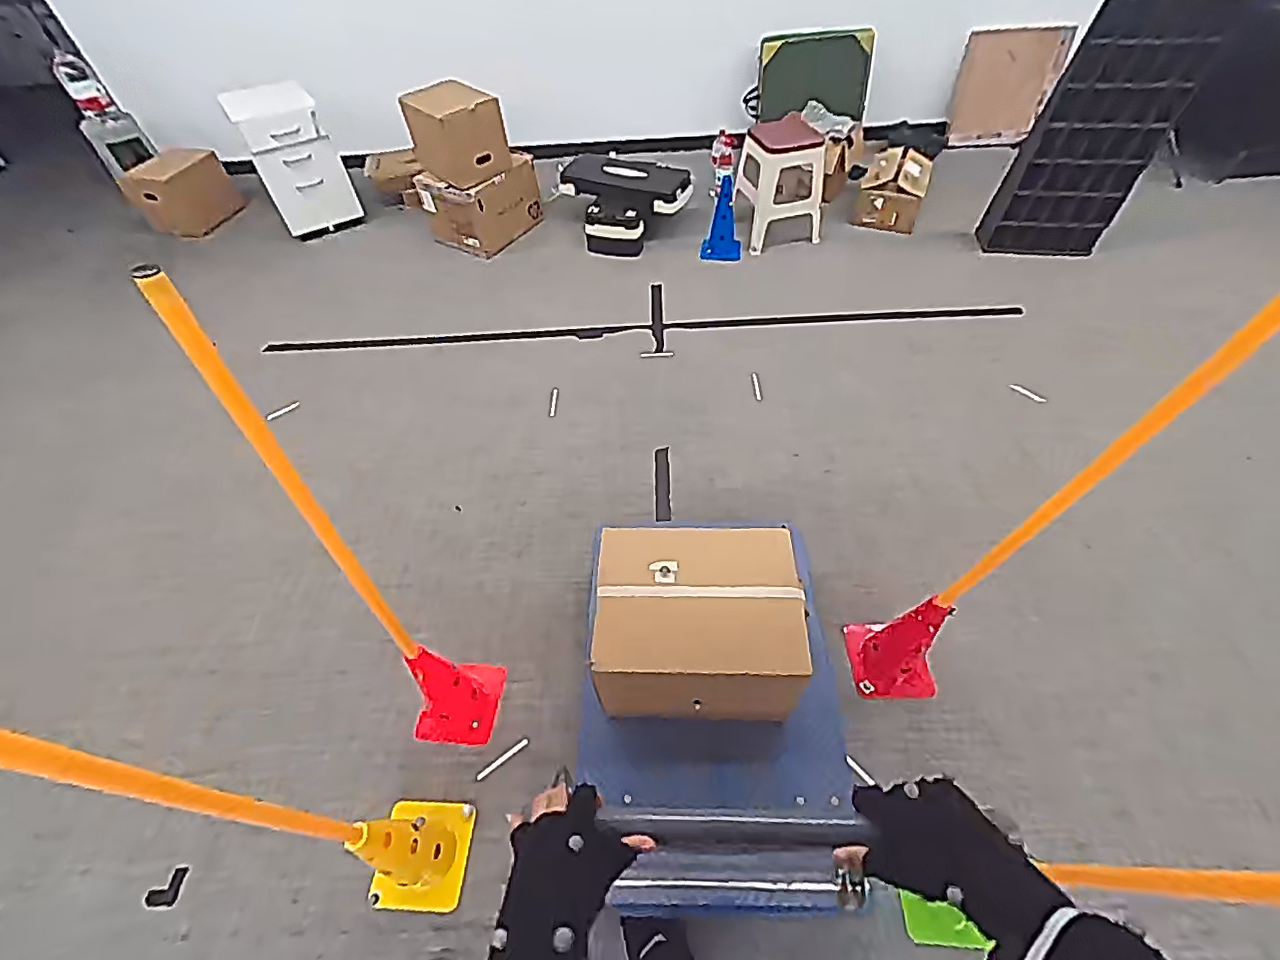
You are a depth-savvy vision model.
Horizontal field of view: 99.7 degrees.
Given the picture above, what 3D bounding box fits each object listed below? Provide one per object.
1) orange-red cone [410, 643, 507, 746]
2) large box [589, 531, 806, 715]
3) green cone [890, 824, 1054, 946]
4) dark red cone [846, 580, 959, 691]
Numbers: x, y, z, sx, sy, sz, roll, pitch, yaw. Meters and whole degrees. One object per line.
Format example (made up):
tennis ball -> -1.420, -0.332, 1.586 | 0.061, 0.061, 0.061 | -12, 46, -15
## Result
orange-red cone -> -0.469, 0.472, 1.287 | 0.198, 0.360, 0.199 | 4, 50, 5
large box -> 0.118, 0.321, 1.191 | 0.408, 0.320, 0.320 | 1, 53, 4
green cone -> 0.644, 0.743, 1.009 | 0.202, 0.368, 0.200 | 2, 52, 3
dark red cone -> 0.658, 0.353, 1.297 | 0.201, 0.394, 0.202 | -1, 52, 0
